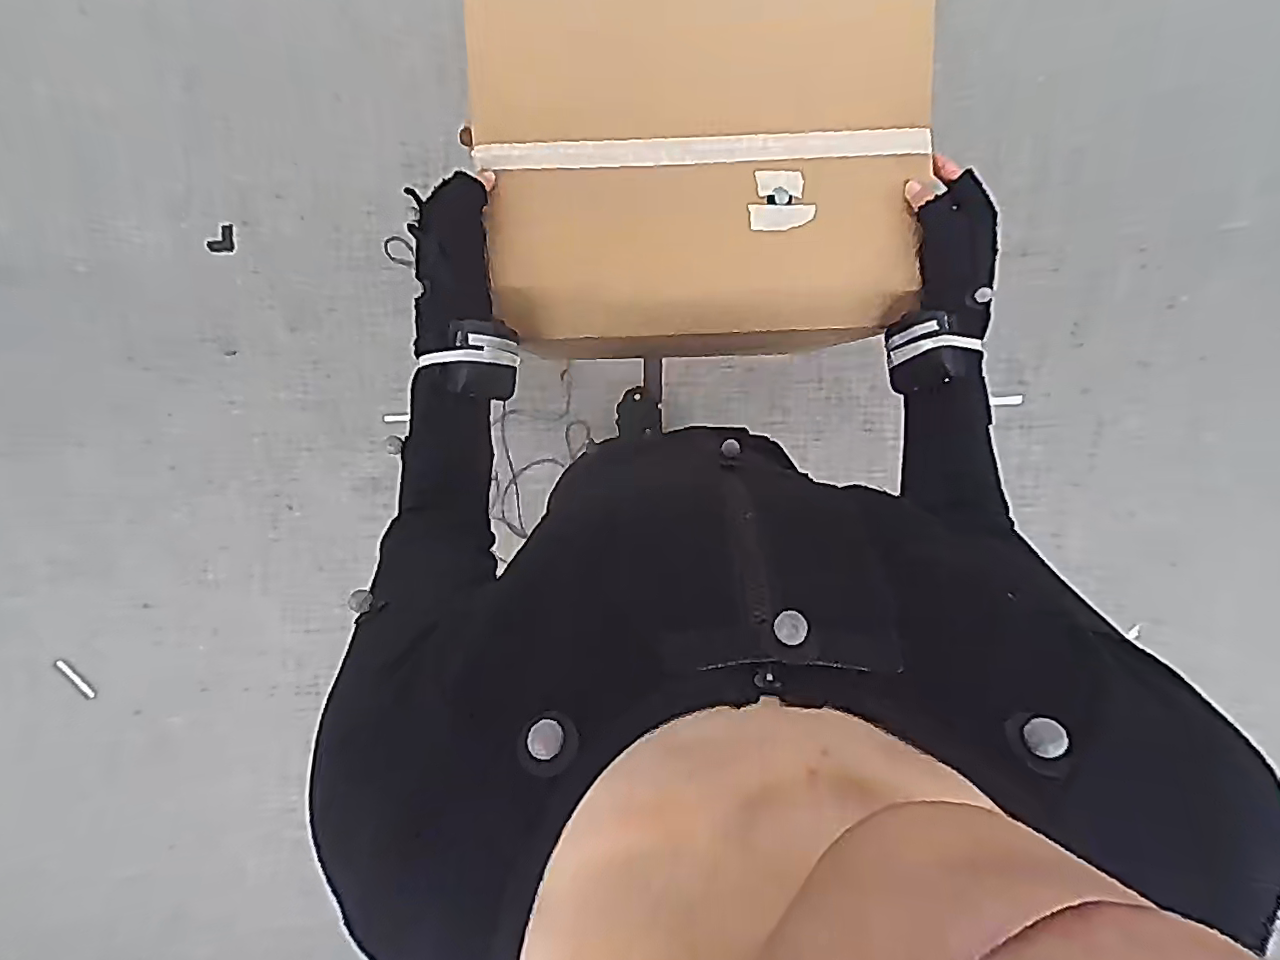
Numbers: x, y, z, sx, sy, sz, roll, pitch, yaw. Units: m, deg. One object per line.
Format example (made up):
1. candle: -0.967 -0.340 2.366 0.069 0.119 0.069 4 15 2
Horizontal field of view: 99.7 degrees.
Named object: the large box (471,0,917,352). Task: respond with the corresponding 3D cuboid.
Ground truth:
1. large box: 0.050 -0.331 0.645 0.408 0.320 0.320 -3 100 -1
